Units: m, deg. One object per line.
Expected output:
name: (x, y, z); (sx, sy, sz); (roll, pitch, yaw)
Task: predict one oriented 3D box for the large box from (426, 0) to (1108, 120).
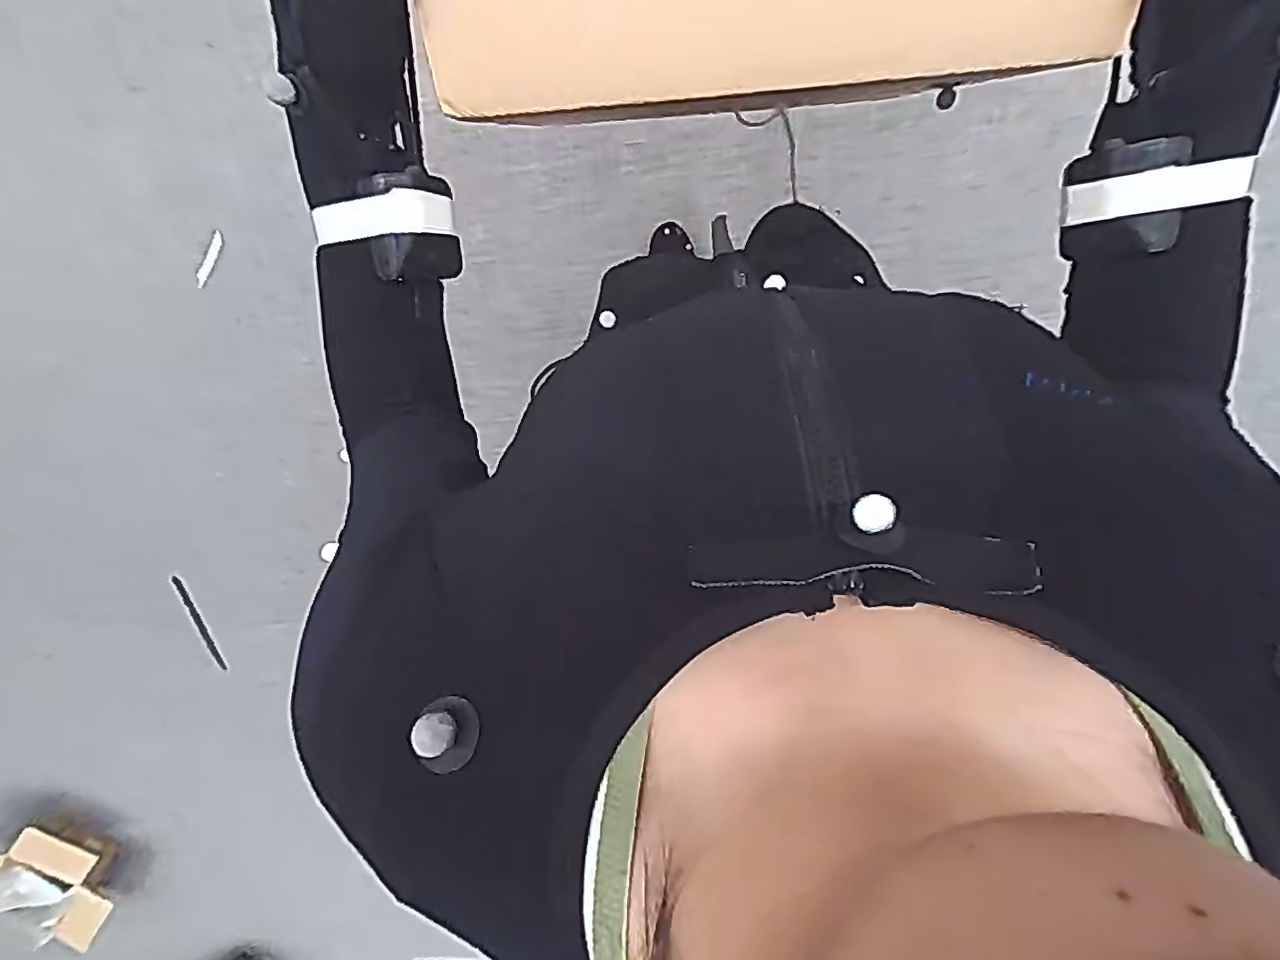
large box: (0.067, -0.453, 0.378); (0.408, 0.320, 0.320); (-3, 122, 2)
